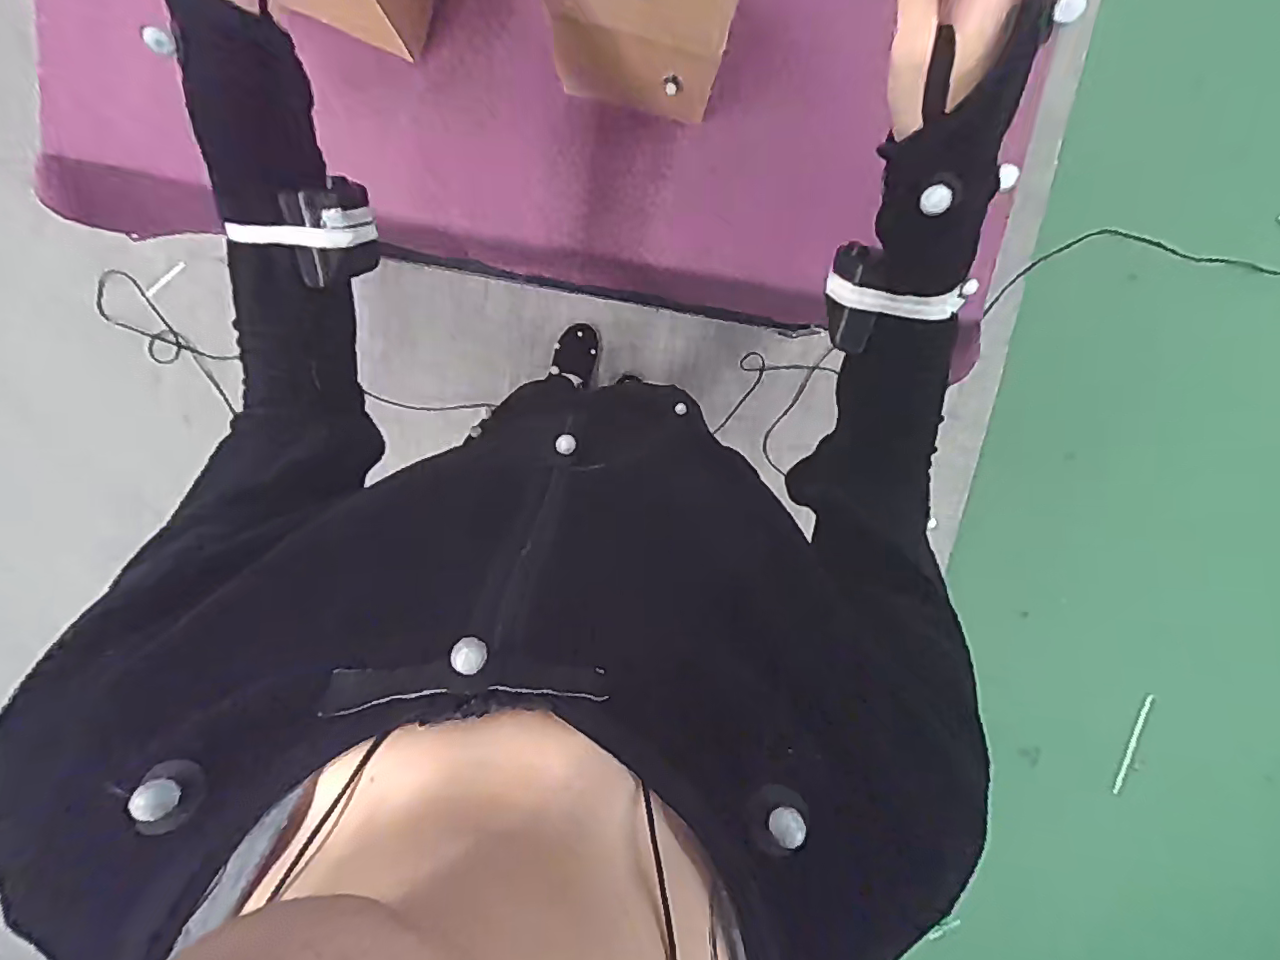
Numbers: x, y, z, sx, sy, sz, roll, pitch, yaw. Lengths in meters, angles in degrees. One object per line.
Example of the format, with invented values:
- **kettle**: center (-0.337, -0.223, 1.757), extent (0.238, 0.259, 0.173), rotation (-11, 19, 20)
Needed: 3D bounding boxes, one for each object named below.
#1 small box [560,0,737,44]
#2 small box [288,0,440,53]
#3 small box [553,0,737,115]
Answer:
- **small box**: center (0.016, -0.497, 0.428), extent (0.179, 0.176, 0.168), rotation (12, 100, -4)
- **small box**: center (-0.314, -0.599, 0.560), extent (0.179, 0.176, 0.168), rotation (20, 99, -7)
- **small box**: center (0.012, -0.534, 0.587), extent (0.179, 0.176, 0.168), rotation (11, 99, -4)
